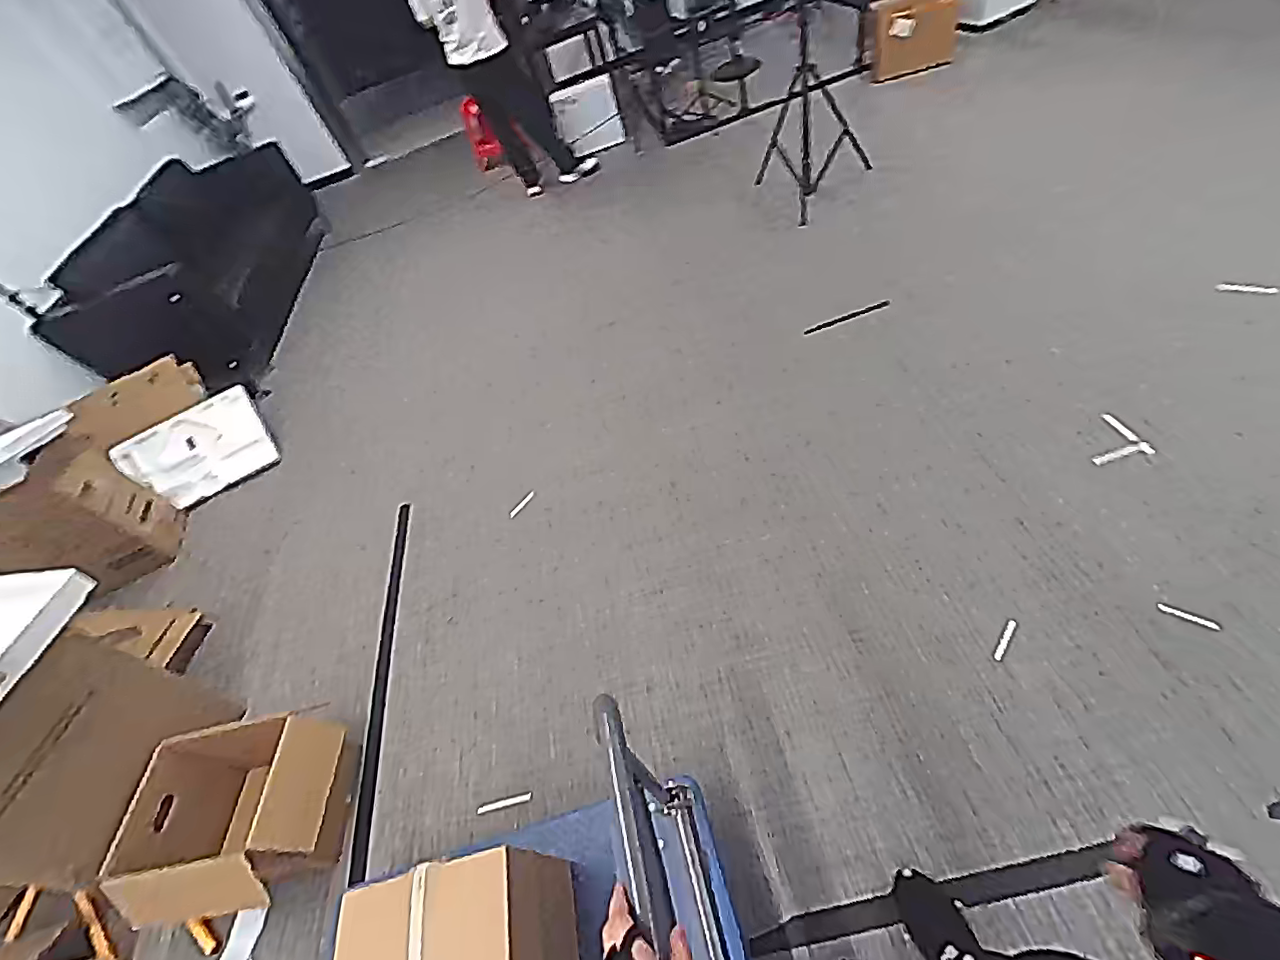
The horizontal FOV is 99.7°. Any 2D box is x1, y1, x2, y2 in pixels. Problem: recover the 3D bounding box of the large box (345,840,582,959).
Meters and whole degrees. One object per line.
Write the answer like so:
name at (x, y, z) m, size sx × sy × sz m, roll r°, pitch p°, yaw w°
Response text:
large box at (-0.286, 0.908, 0.935) m, size 0.320 × 0.320 × 0.408 m, roll -20°, pitch 49°, yaw 4°
